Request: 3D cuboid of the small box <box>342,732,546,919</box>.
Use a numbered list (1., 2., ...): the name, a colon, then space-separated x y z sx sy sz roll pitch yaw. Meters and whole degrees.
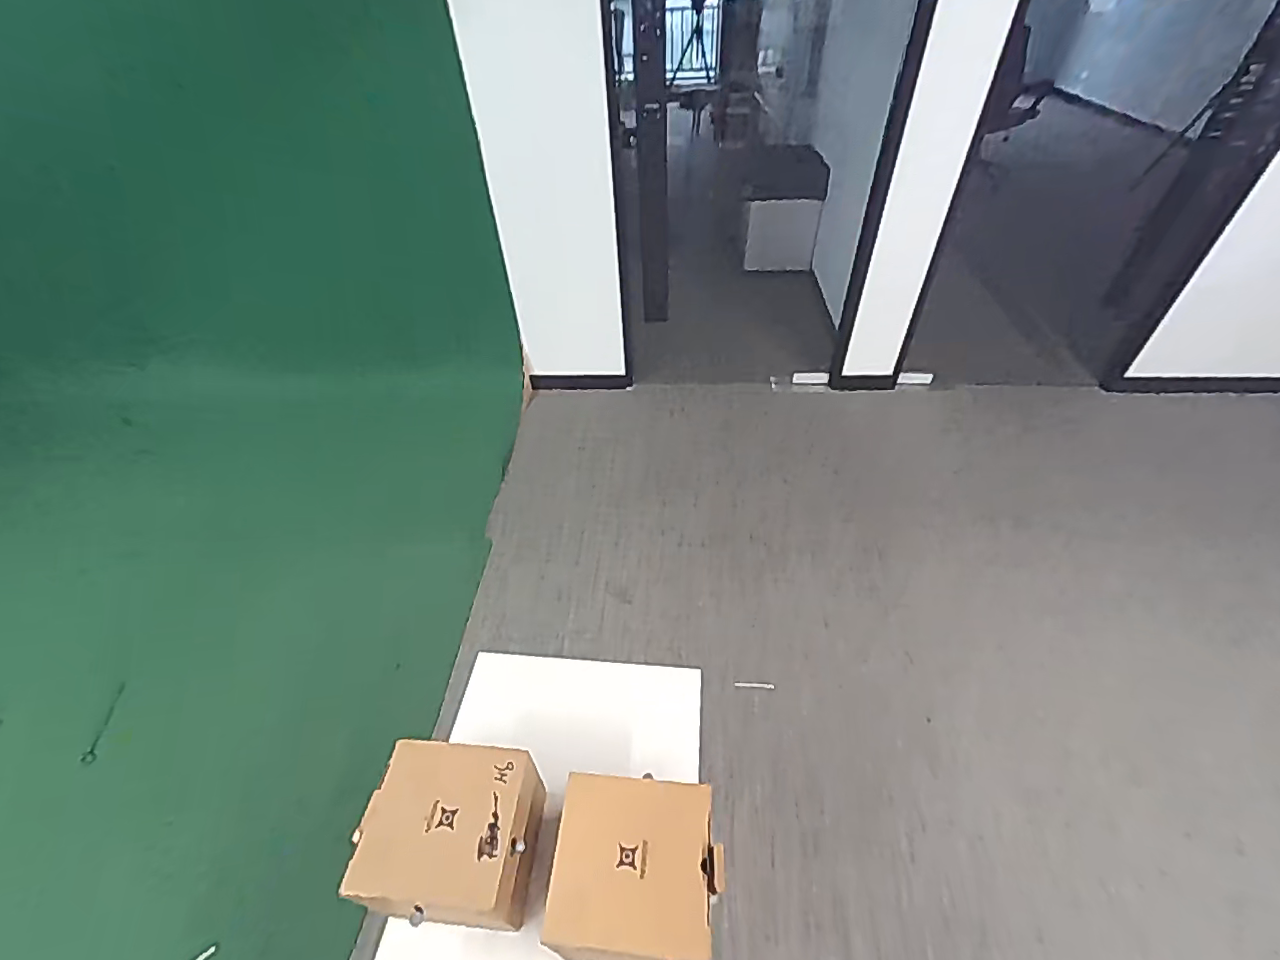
1. small box: -0.233 0.446 0.697 0.179 0.176 0.168 2 45 5
